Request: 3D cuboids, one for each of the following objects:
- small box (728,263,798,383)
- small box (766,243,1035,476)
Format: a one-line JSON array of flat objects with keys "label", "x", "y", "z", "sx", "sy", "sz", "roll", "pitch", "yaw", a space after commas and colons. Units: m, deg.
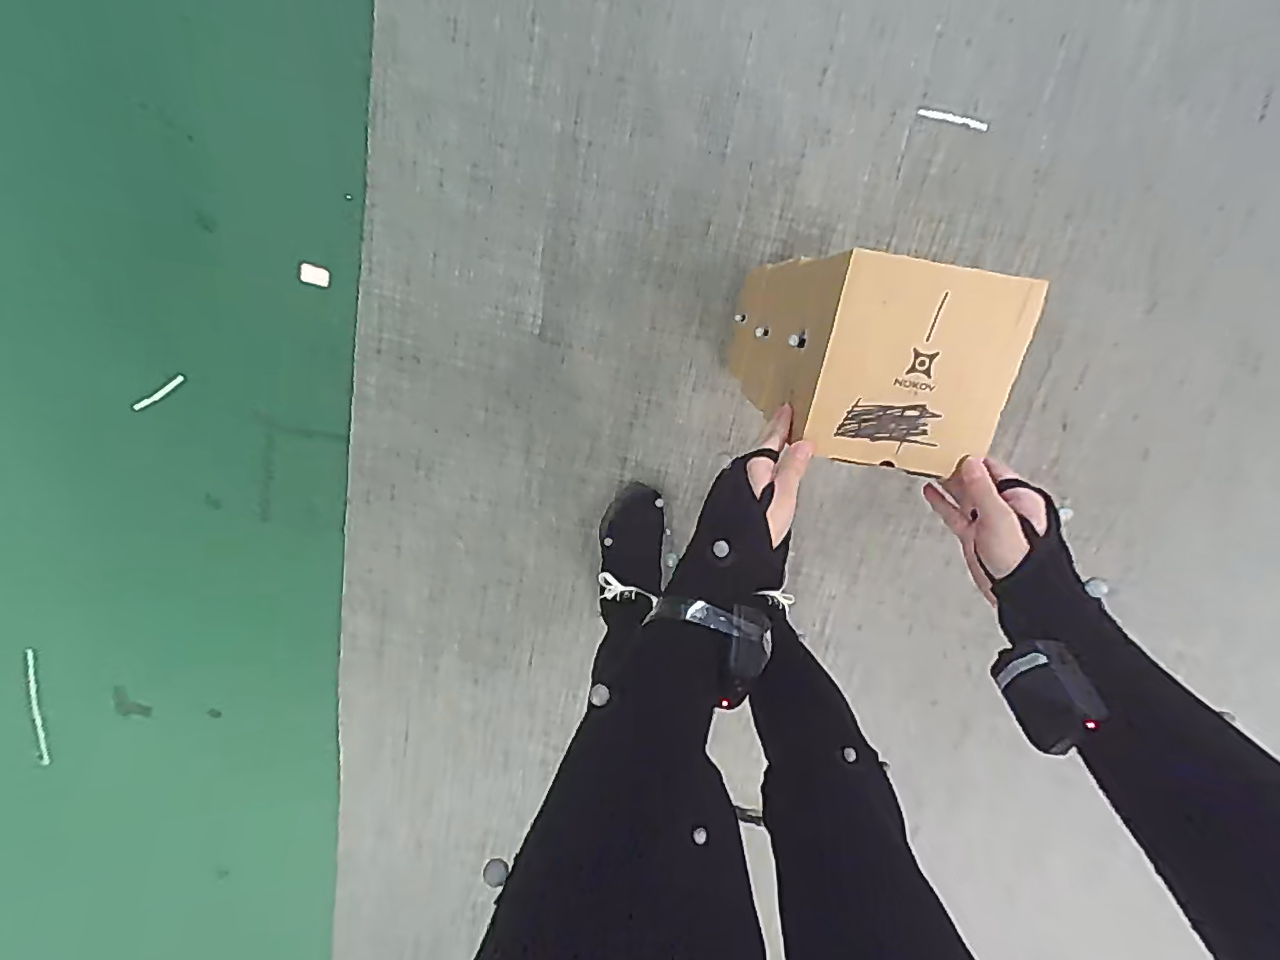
[{"label": "small box", "x": 0.247, "y": -0.233, "z": 0.853, "sx": 0.179, "sy": 0.176, "sz": 0.168, "roll": 11, "pitch": 108, "yaw": -2}, {"label": "small box", "x": 0.235, "y": -0.122, "z": 0.545, "sx": 0.168, "sy": 0.176, "sz": 0.179, "roll": 10, "pitch": 107, "yaw": -2}]
